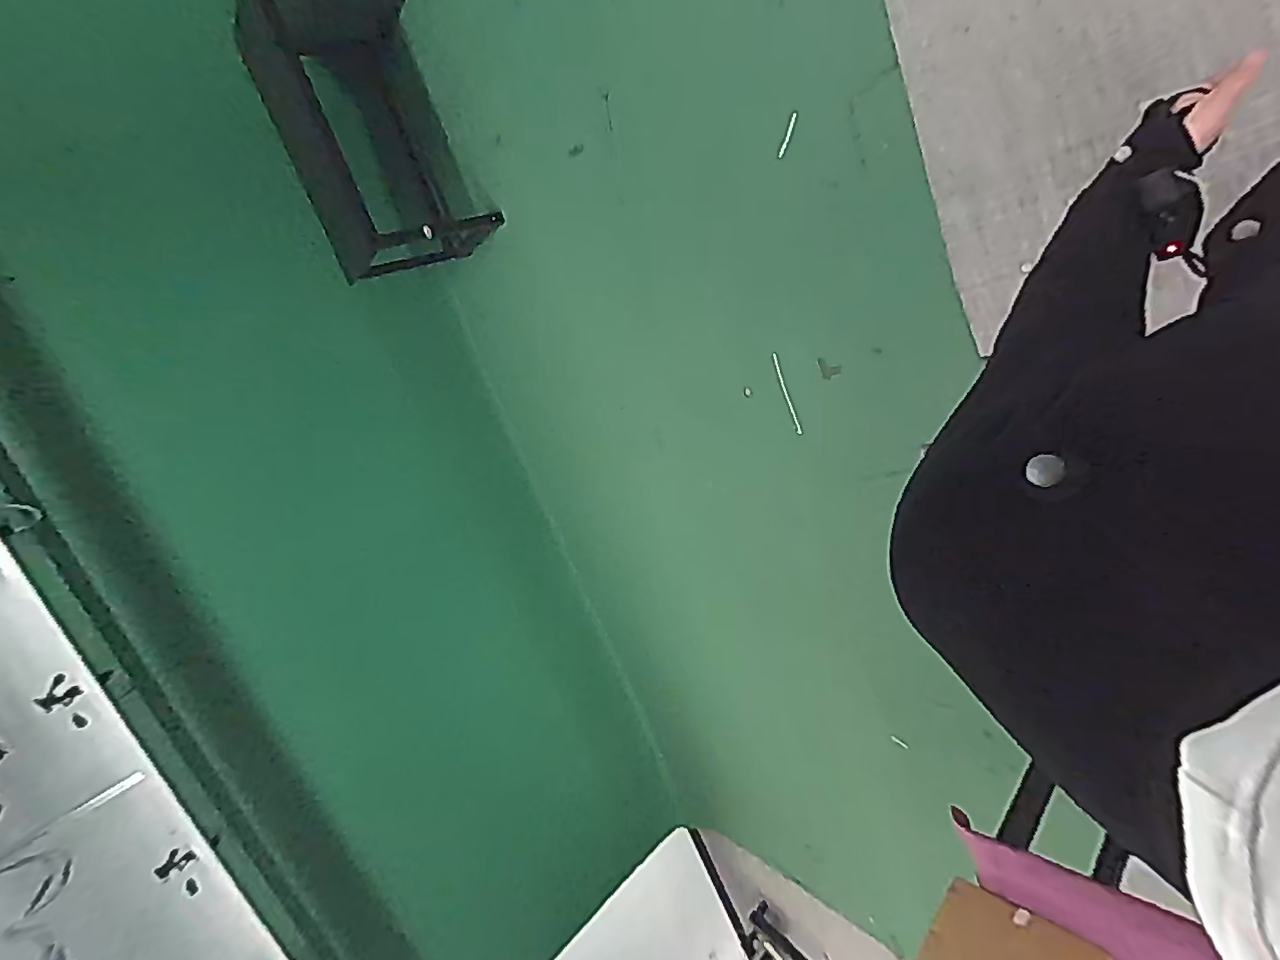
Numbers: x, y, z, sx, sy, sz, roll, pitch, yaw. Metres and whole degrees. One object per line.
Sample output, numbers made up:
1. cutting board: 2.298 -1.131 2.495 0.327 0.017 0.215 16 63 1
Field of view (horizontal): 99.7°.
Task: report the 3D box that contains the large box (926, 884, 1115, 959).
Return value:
1. large box: 0.851 1.221 1.166 0.320 0.320 0.408 -7 109 53
